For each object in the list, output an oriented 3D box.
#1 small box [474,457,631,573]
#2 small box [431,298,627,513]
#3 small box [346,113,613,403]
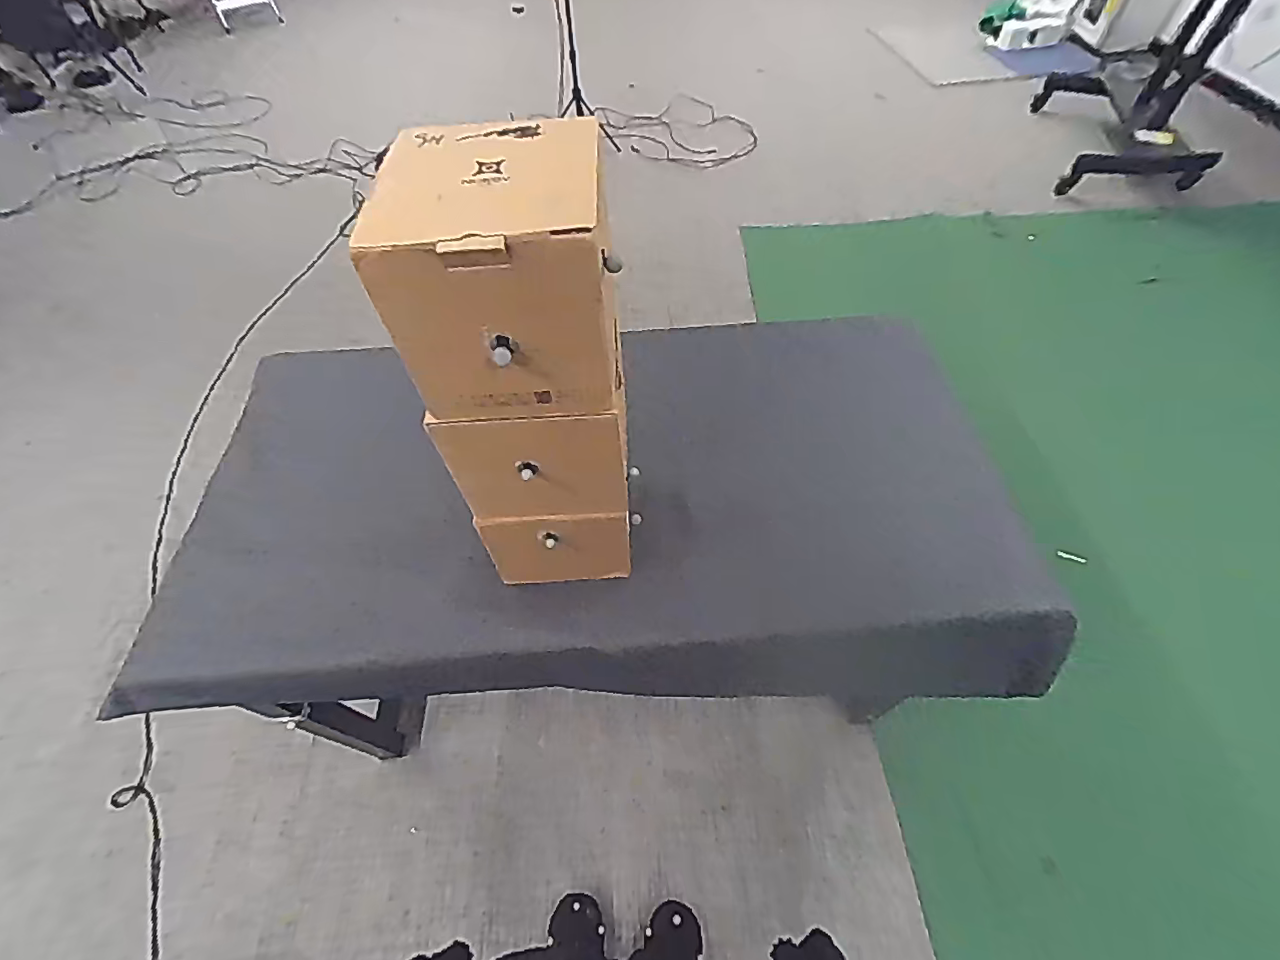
[{"bbox_3d":[-0.105,0.016,0.727,0.179,0.176,0.168,-3,56,-1],"label":"small box"},{"bbox_3d":[-0.105,-0.077,0.592,0.179,0.176,0.168,-5,56,-2],"label":"small box"},{"bbox_3d":[-0.111,-0.178,0.463,0.168,0.176,0.179,-3,56,1],"label":"small box"}]
